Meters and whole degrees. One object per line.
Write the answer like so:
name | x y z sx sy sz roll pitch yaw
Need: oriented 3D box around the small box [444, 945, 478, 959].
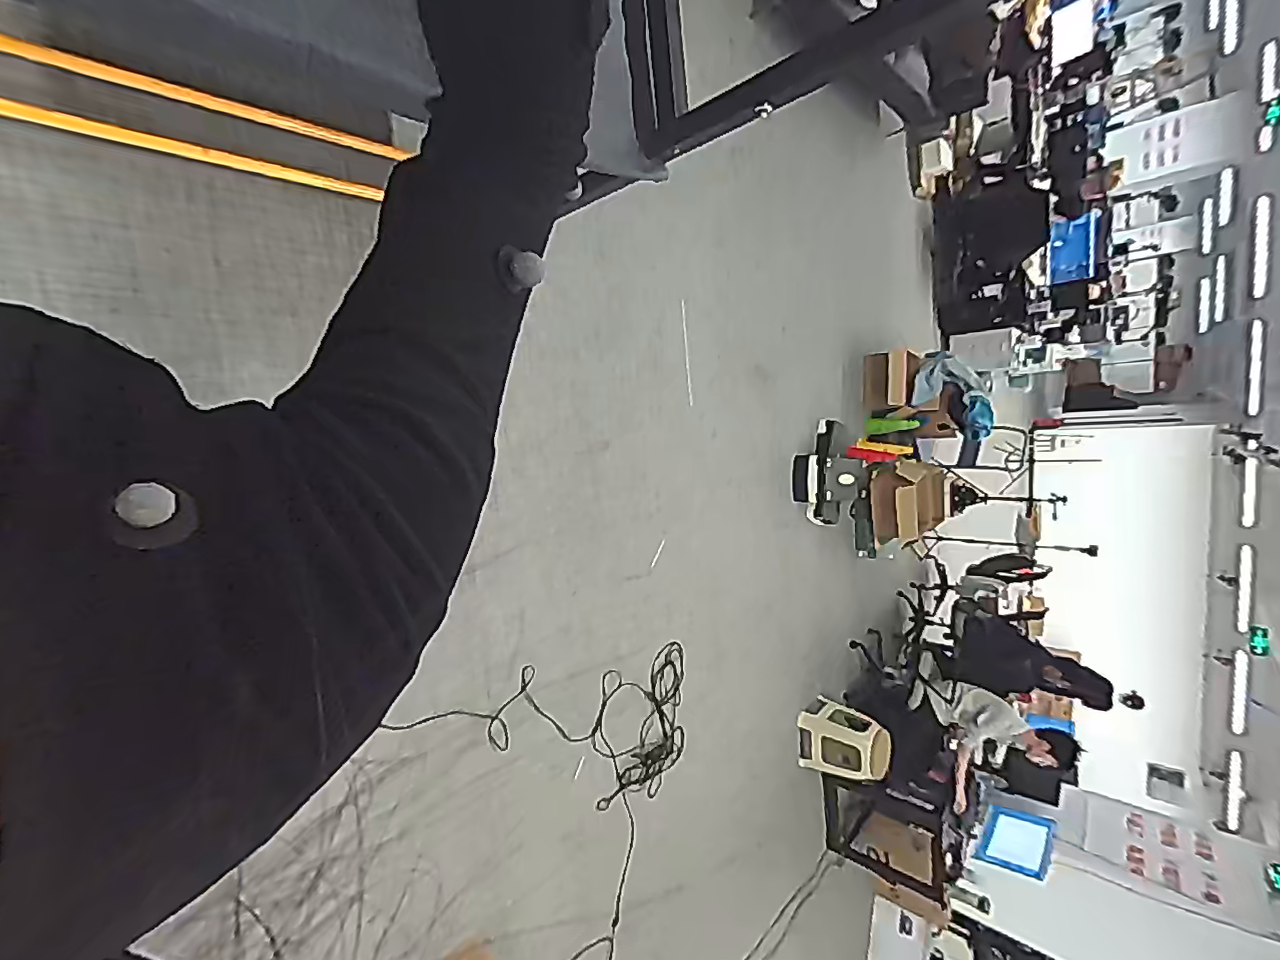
small box | -0.533 1.539 1.585 0.168 0.176 0.179 -11 99 -47
